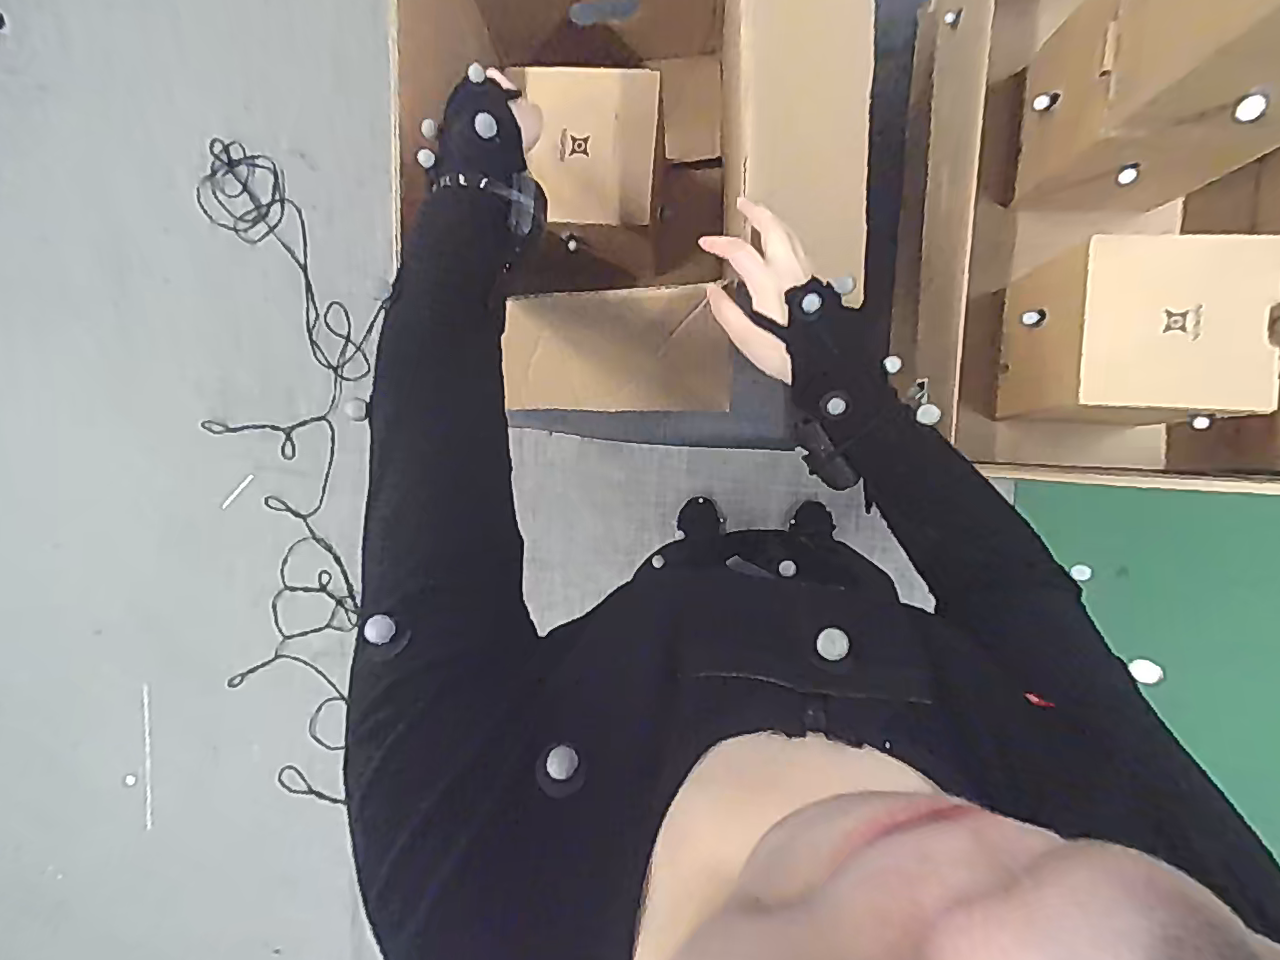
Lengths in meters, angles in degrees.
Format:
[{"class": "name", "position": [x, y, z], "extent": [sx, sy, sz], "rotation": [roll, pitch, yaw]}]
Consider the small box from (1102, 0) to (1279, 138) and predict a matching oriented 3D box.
[{"class": "small box", "position": [0.516, -0.407, 0.425], "extent": [0.168, 0.176, 0.179], "rotation": [4, 96, 5]}]
